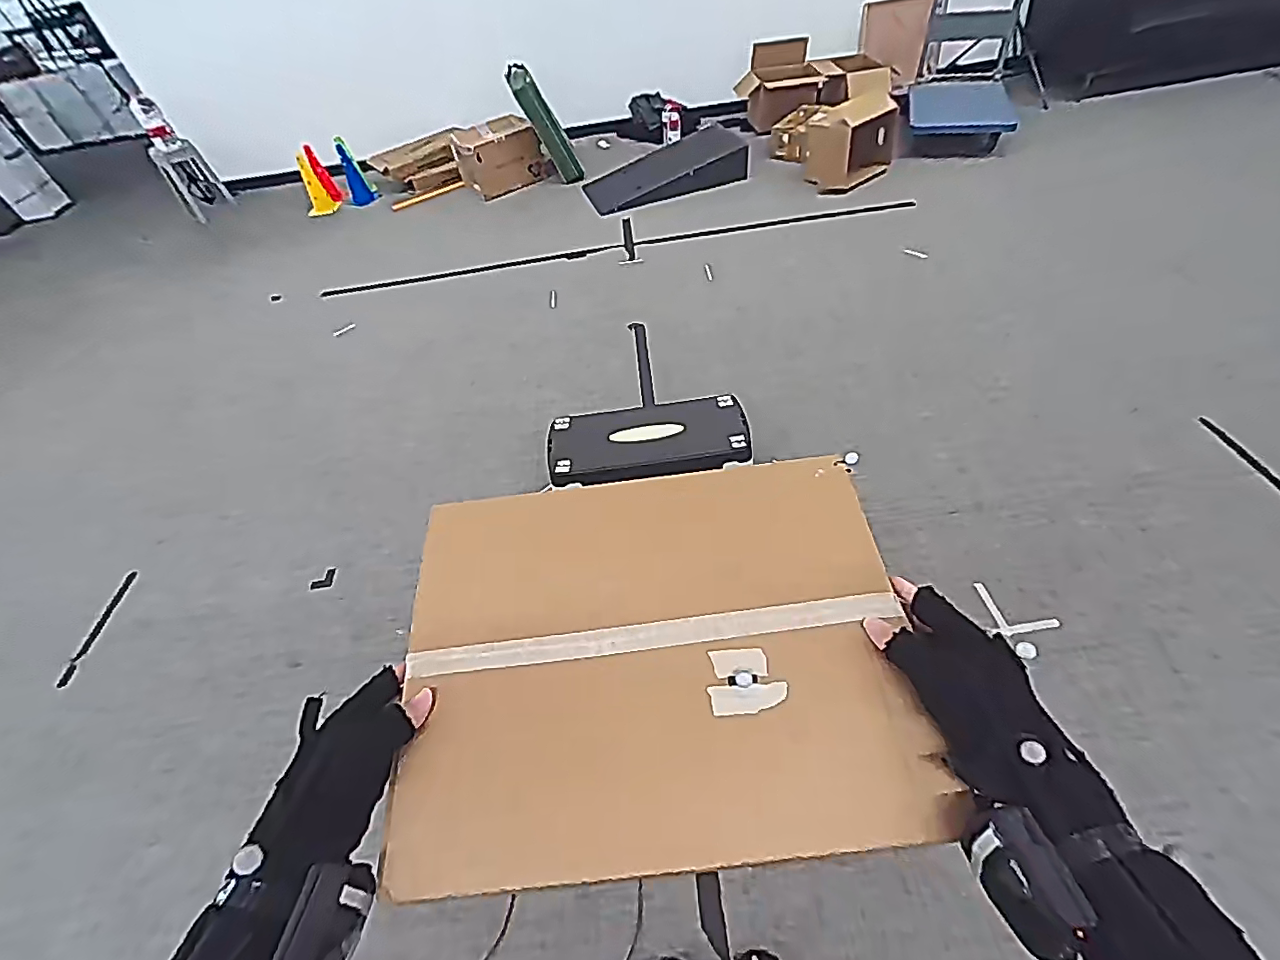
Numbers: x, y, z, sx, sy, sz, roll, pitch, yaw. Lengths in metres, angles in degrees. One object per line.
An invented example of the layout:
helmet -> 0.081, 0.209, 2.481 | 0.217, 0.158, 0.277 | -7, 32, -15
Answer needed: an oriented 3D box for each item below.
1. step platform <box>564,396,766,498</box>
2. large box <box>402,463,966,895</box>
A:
step platform -> 0.081, -0.092, 1.858 | 0.684, 0.204, 0.286 | -8, 49, 1
large box -> 0.026, 0.218, 0.577 | 0.408, 0.320, 0.320 | -7, 56, 1
